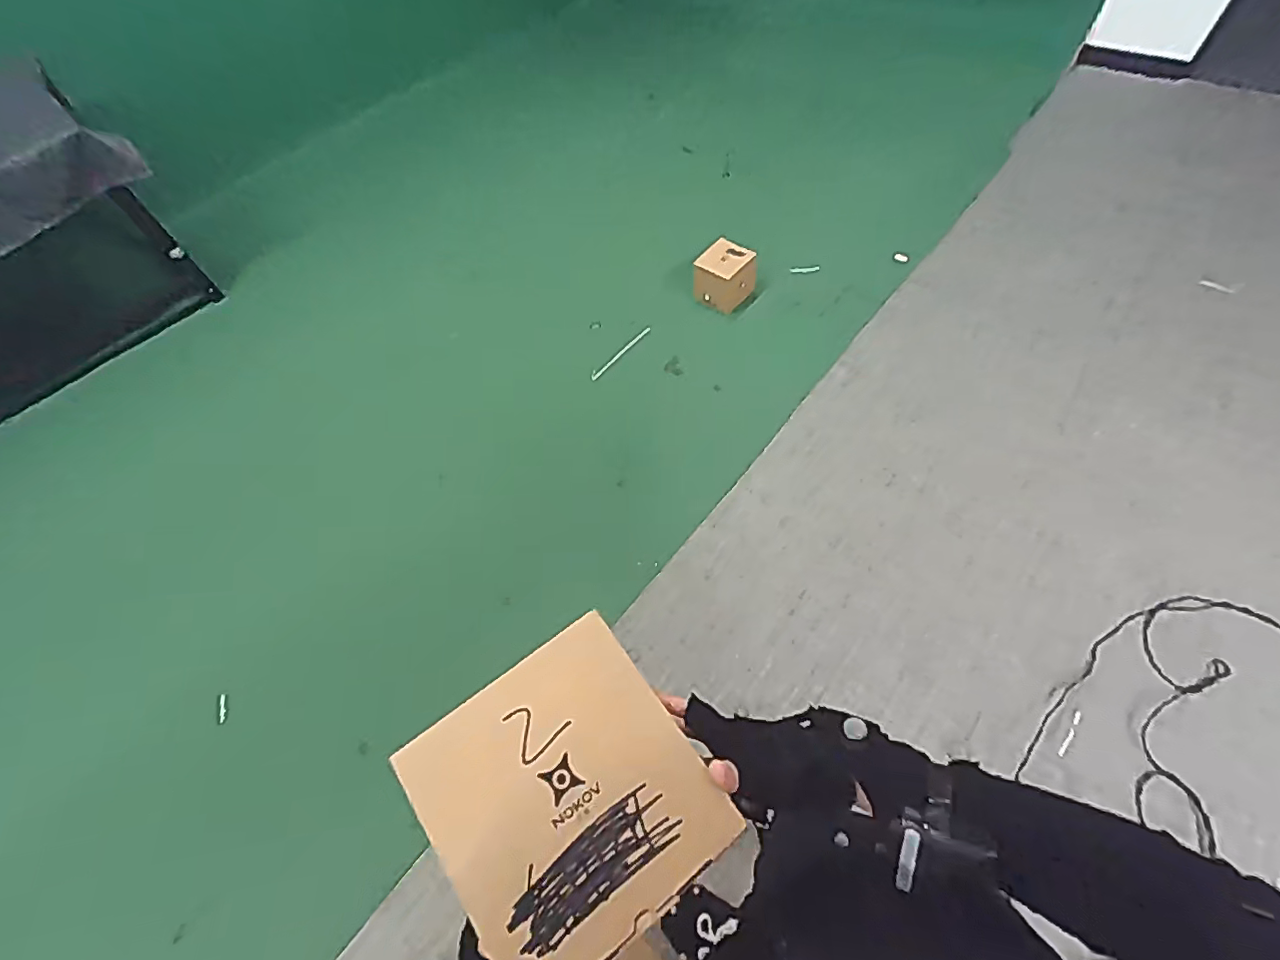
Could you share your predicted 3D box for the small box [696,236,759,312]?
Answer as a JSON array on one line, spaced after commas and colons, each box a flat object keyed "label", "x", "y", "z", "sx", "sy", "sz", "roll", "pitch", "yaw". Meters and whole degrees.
[{"label": "small box", "x": 0.324, "y": -0.769, "z": 2.025, "sx": 0.168, "sy": 0.176, "sz": 0.179, "roll": 35, "pitch": 69, "yaw": 24}]
